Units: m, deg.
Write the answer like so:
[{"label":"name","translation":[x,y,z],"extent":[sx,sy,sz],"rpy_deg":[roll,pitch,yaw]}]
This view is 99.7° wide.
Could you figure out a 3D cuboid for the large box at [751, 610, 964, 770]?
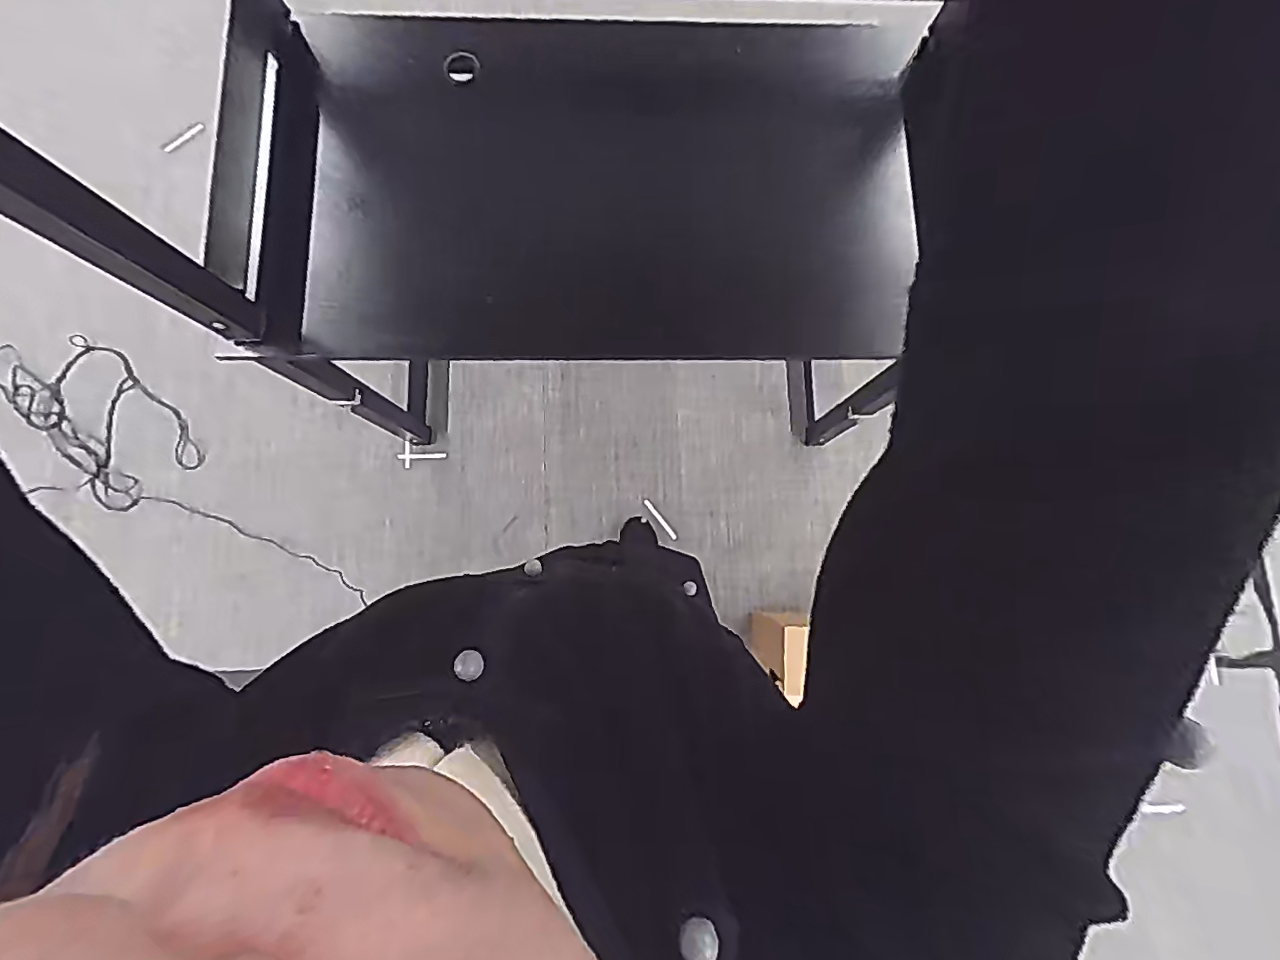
[{"label":"large box","translation":[0.505,0.493,1.335],"extent":[0.408,0.320,0.320],"rpy_deg":[3,83,-2]}]
